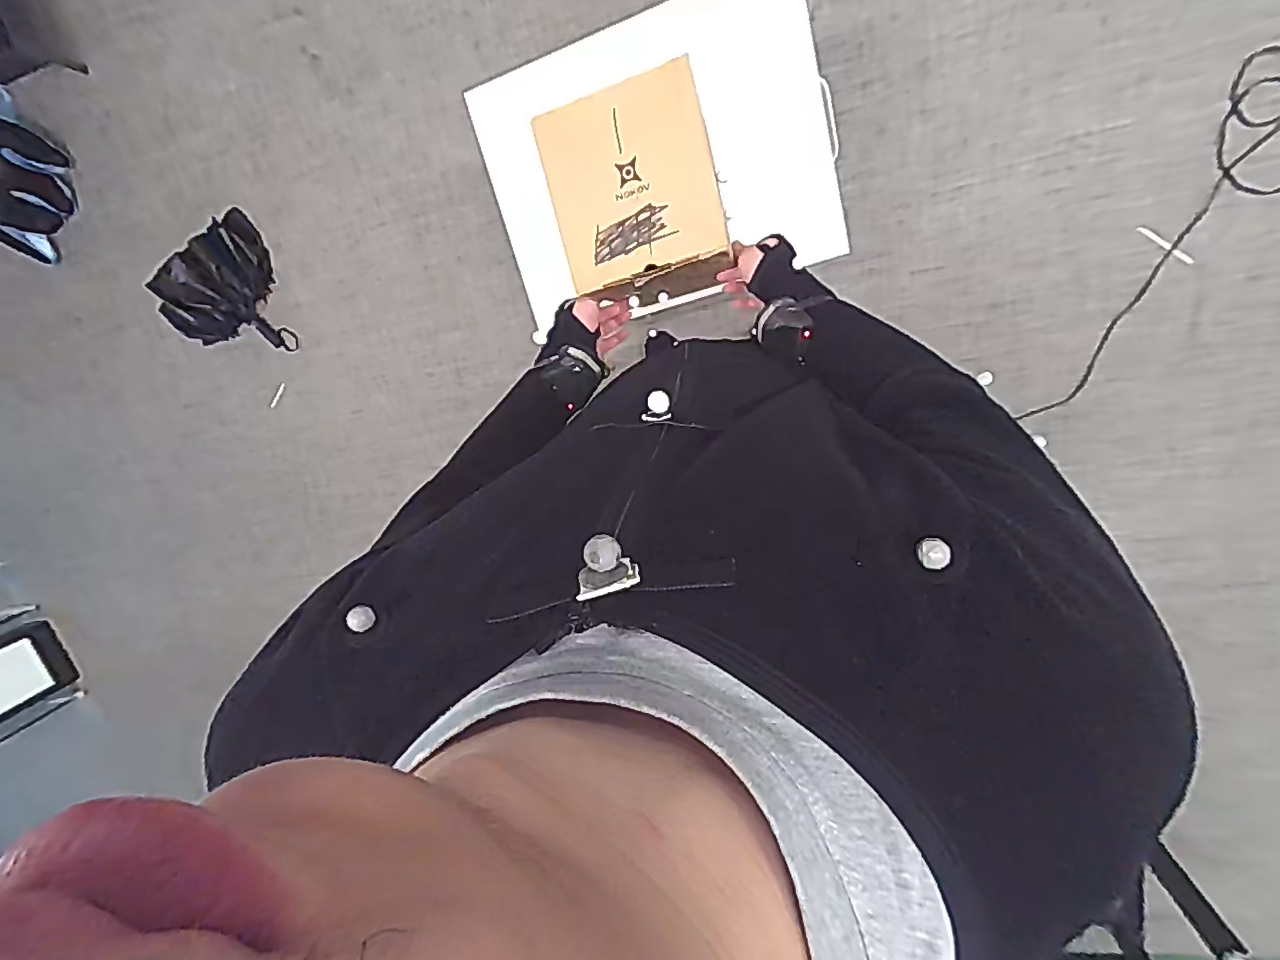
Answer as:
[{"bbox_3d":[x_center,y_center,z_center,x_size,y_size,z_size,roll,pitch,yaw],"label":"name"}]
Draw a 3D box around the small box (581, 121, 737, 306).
[{"bbox_3d":[0.037,-0.357,0.763,0.168,0.176,0.179,-13,102,15],"label":"small box"}]
